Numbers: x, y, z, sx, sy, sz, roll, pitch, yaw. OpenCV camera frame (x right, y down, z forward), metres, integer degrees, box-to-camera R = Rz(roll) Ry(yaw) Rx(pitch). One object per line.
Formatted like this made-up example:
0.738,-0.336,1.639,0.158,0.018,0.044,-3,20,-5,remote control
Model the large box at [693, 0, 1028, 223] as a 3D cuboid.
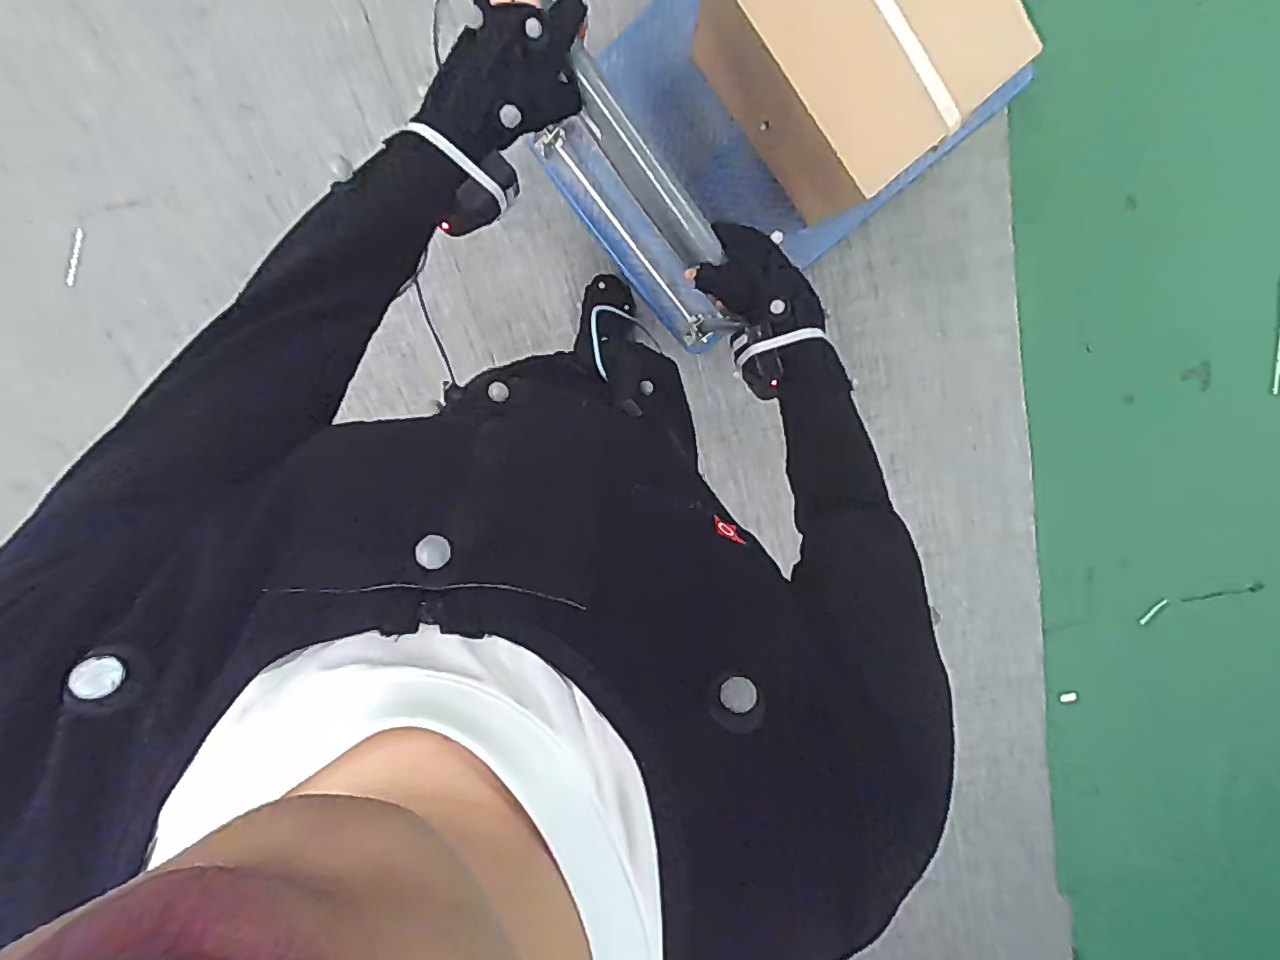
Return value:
0.342,-0.731,0.935,0.320,0.320,0.408,-39,104,11,large box
